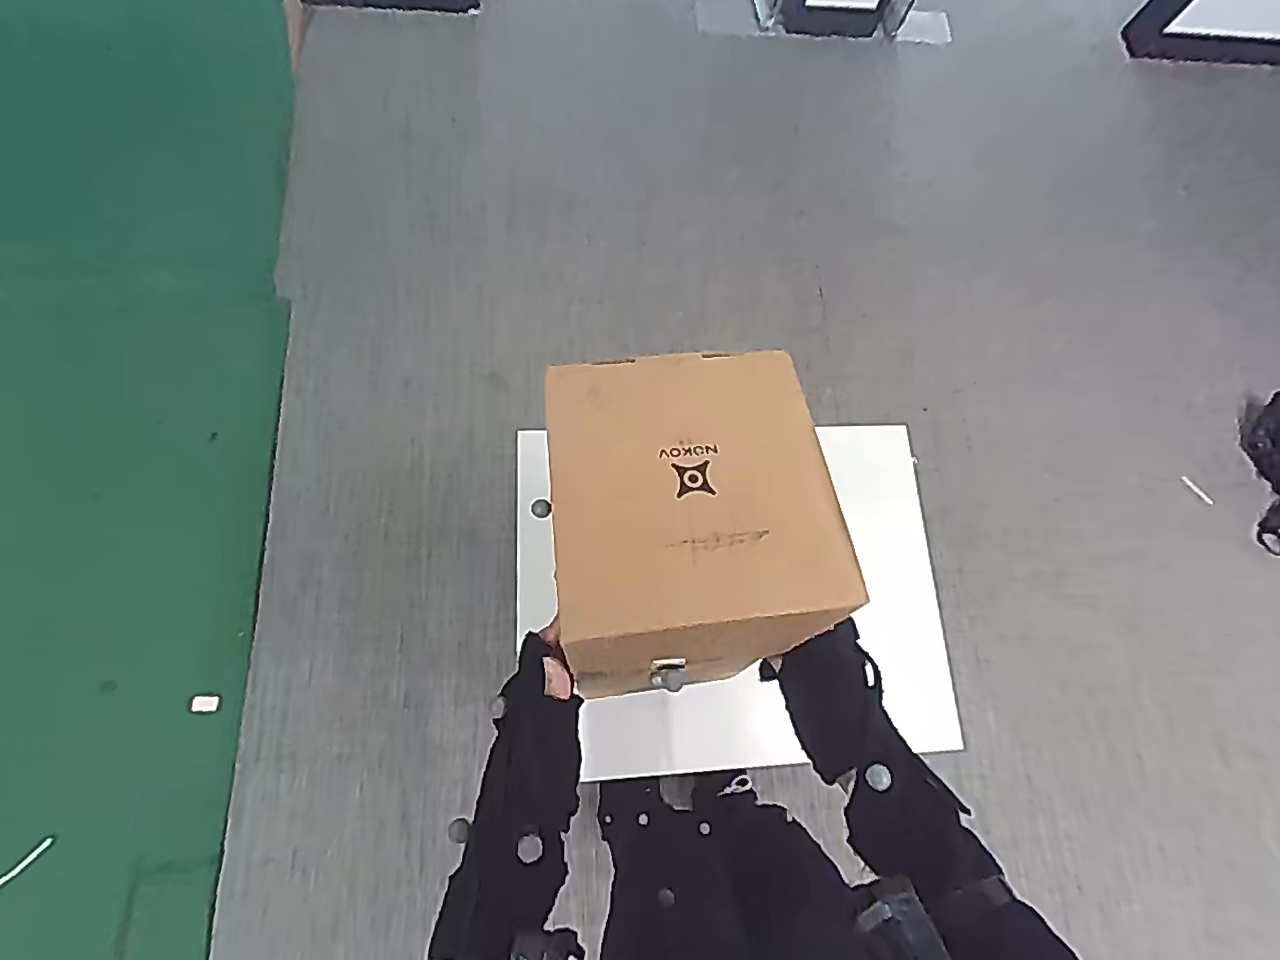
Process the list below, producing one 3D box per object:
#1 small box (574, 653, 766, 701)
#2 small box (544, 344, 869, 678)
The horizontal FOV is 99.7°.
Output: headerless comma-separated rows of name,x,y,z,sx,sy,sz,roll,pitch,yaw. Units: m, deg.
small box,0.012,0.110,0.543,0.168,0.176,0.179,-6,62,-7
small box,0.024,0.029,0.383,0.168,0.176,0.179,-6,63,-7
